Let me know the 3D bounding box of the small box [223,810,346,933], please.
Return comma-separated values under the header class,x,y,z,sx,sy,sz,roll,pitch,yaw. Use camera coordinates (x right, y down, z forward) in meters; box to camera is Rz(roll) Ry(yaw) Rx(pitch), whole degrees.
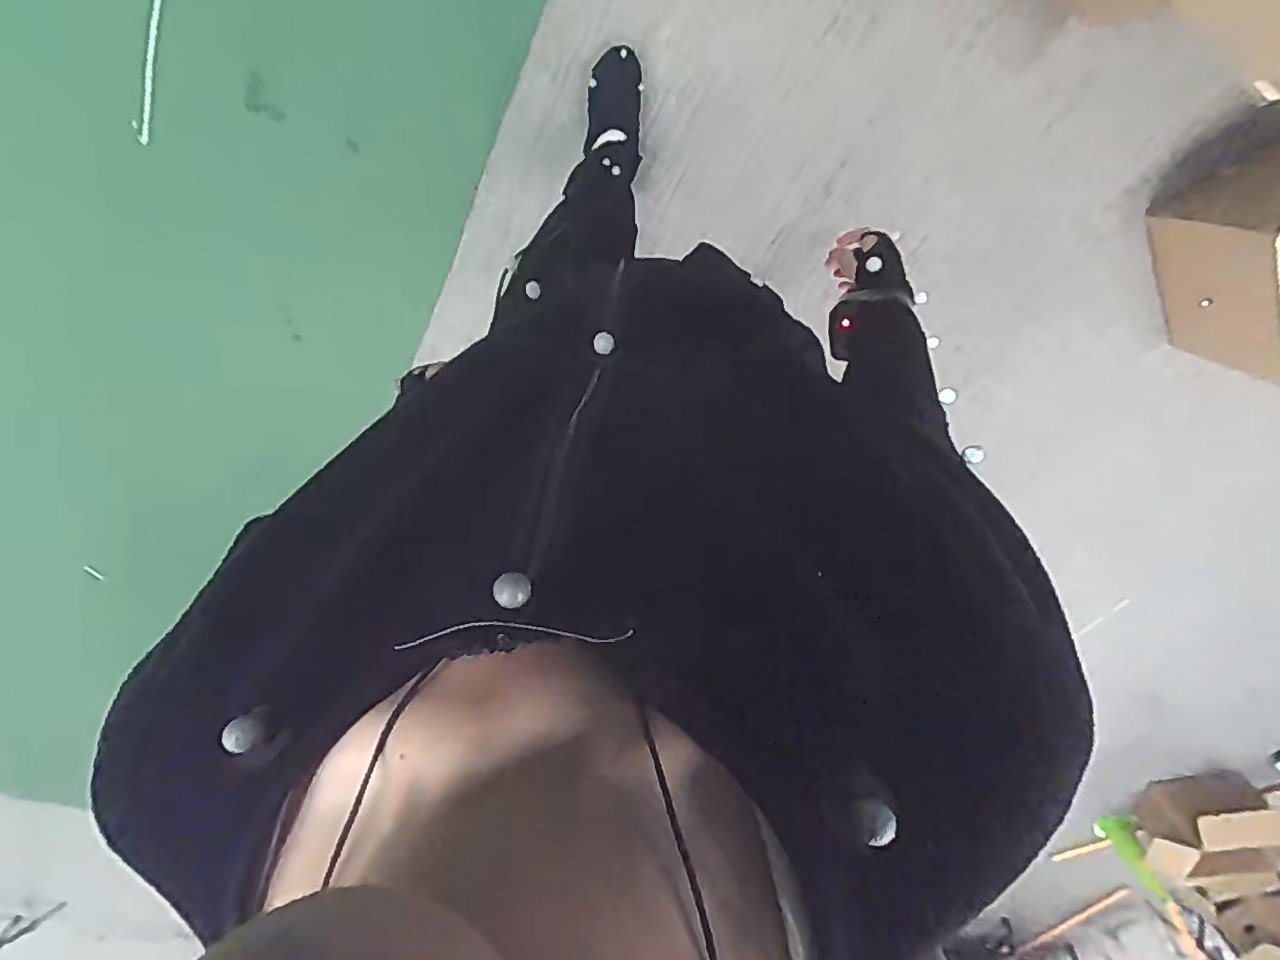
class,x,y,z,sx,sy,sz,roll,pitch,yaw
small box,-0.810,0.897,1.243,0.168,0.176,0.179,27,119,-18
